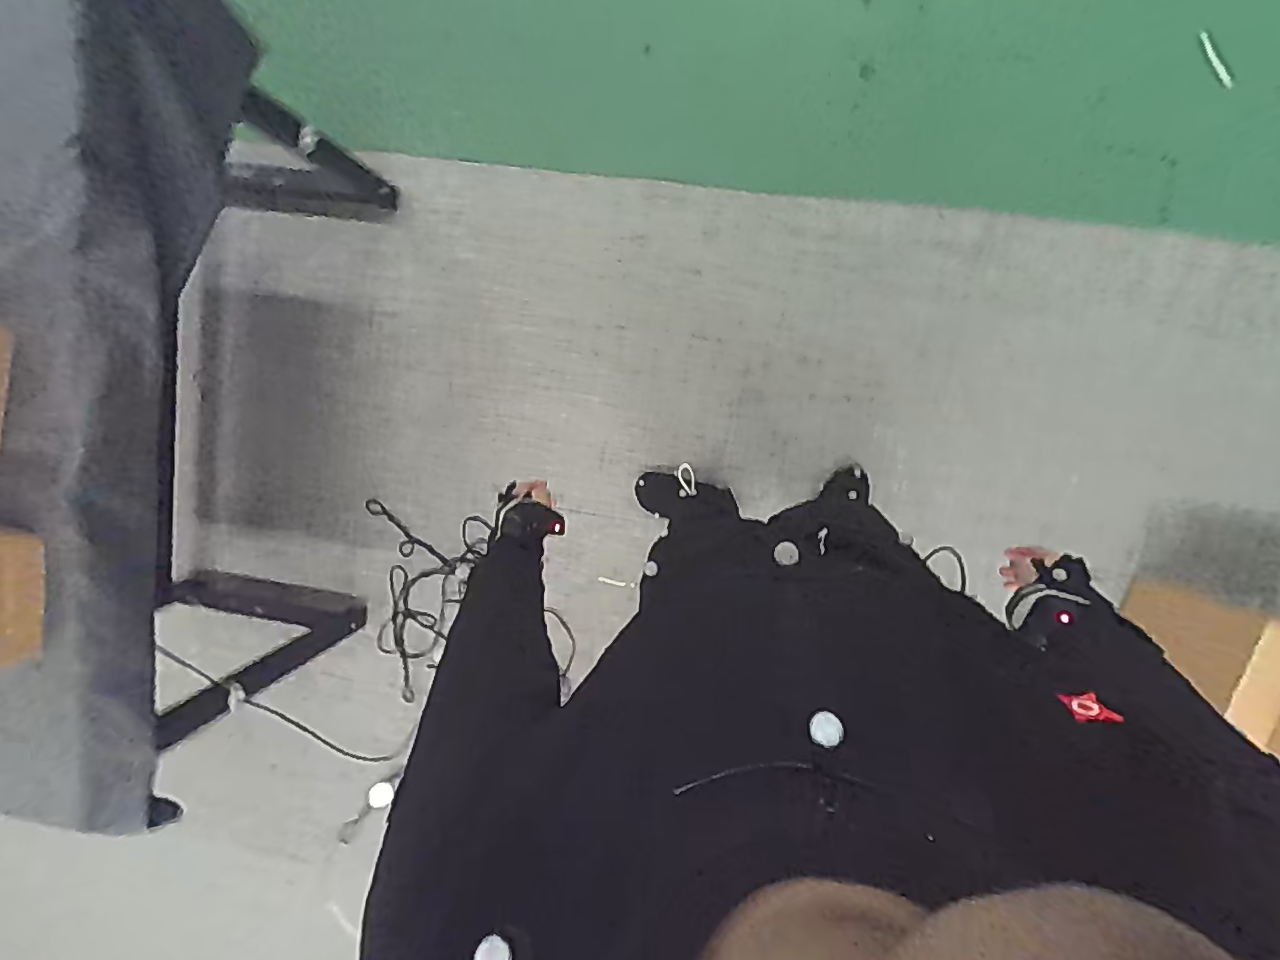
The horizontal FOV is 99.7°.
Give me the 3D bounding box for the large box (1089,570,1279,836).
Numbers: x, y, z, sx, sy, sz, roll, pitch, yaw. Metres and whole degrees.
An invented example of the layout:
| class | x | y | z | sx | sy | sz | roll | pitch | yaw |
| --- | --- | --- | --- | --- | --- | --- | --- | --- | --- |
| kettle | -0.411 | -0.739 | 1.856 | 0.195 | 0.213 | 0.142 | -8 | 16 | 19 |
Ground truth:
| class | x | y | z | sx | sy | sz | roll | pitch | yaw |
| --- | --- | --- | --- | --- | --- | --- | --- | --- | --- |
| large box | 1.244 | 0.445 | 1.110 | 0.320 | 0.320 | 0.408 | 15 | 100 | 6 |
